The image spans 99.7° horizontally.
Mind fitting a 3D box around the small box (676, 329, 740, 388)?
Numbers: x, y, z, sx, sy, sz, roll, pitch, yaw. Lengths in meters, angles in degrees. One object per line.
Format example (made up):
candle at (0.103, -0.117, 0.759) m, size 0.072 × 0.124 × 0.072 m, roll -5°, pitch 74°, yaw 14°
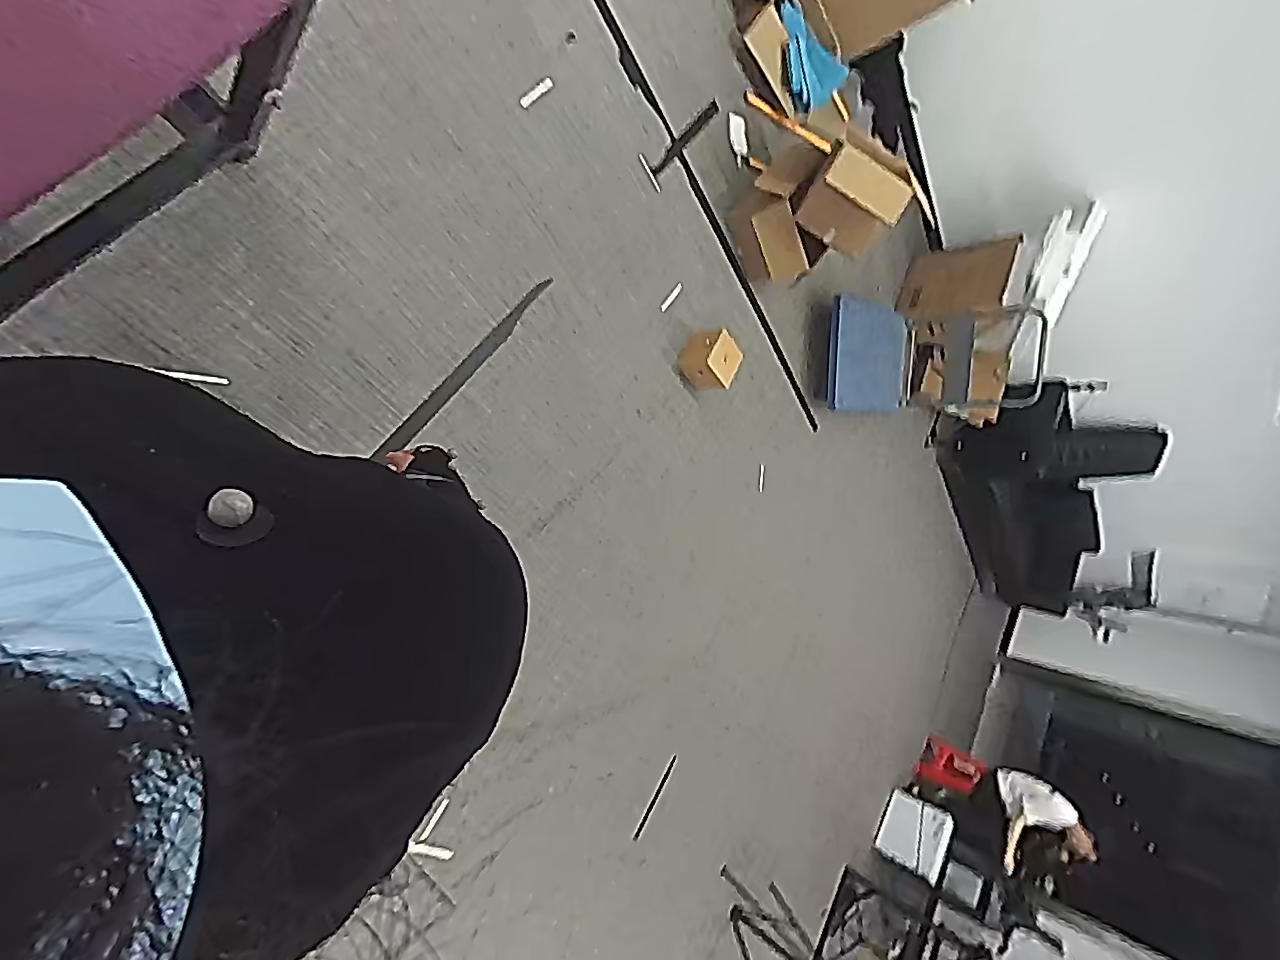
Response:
small box at (0.271, -0.488, 2.203) m, size 0.168 × 0.176 × 0.179 m, roll 42°, pitch 66°, yaw -38°
